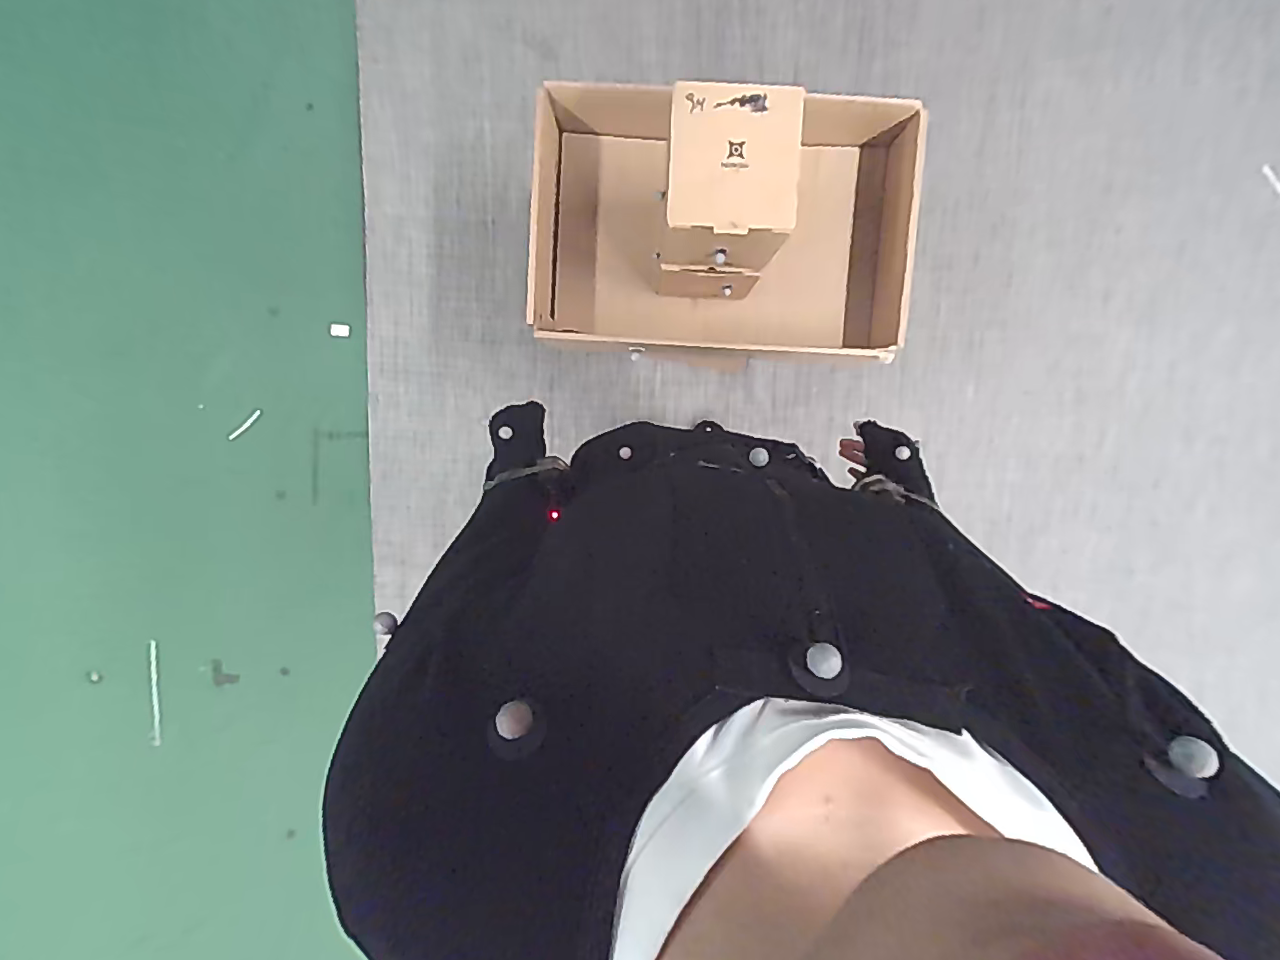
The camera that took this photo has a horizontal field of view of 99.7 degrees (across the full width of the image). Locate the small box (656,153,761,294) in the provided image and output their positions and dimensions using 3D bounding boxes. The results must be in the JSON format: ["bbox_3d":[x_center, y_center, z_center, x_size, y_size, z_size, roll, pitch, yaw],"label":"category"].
[{"bbox_3d":[0.114,-0.426,0.924,0.168,0.176,0.179,2,94,-1],"label":"small box"}]

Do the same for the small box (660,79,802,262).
[{"bbox_3d":[0.116,-0.418,0.760,0.168,0.176,0.179,3,97,-1],"label":"small box"}]
